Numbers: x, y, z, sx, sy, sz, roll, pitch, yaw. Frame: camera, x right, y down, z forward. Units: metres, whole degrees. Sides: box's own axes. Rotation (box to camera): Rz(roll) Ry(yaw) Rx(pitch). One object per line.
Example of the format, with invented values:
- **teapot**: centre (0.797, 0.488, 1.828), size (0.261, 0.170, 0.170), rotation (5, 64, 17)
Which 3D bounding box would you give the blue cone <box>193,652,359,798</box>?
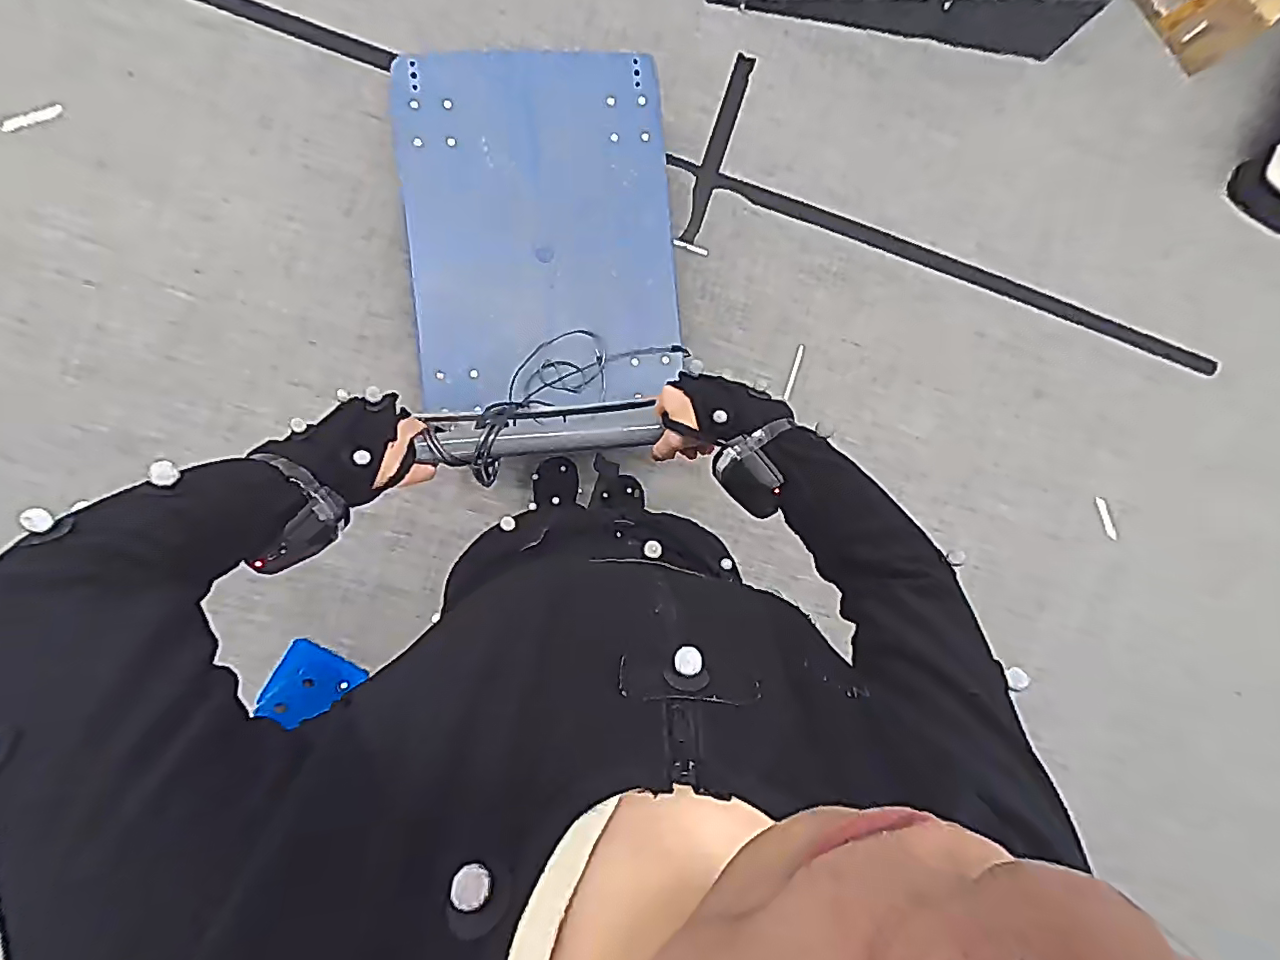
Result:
- **blue cone**: centre (-0.769, 0.520, 1.118), size (0.193, 0.380, 0.192), rotation (33, 87, -6)
